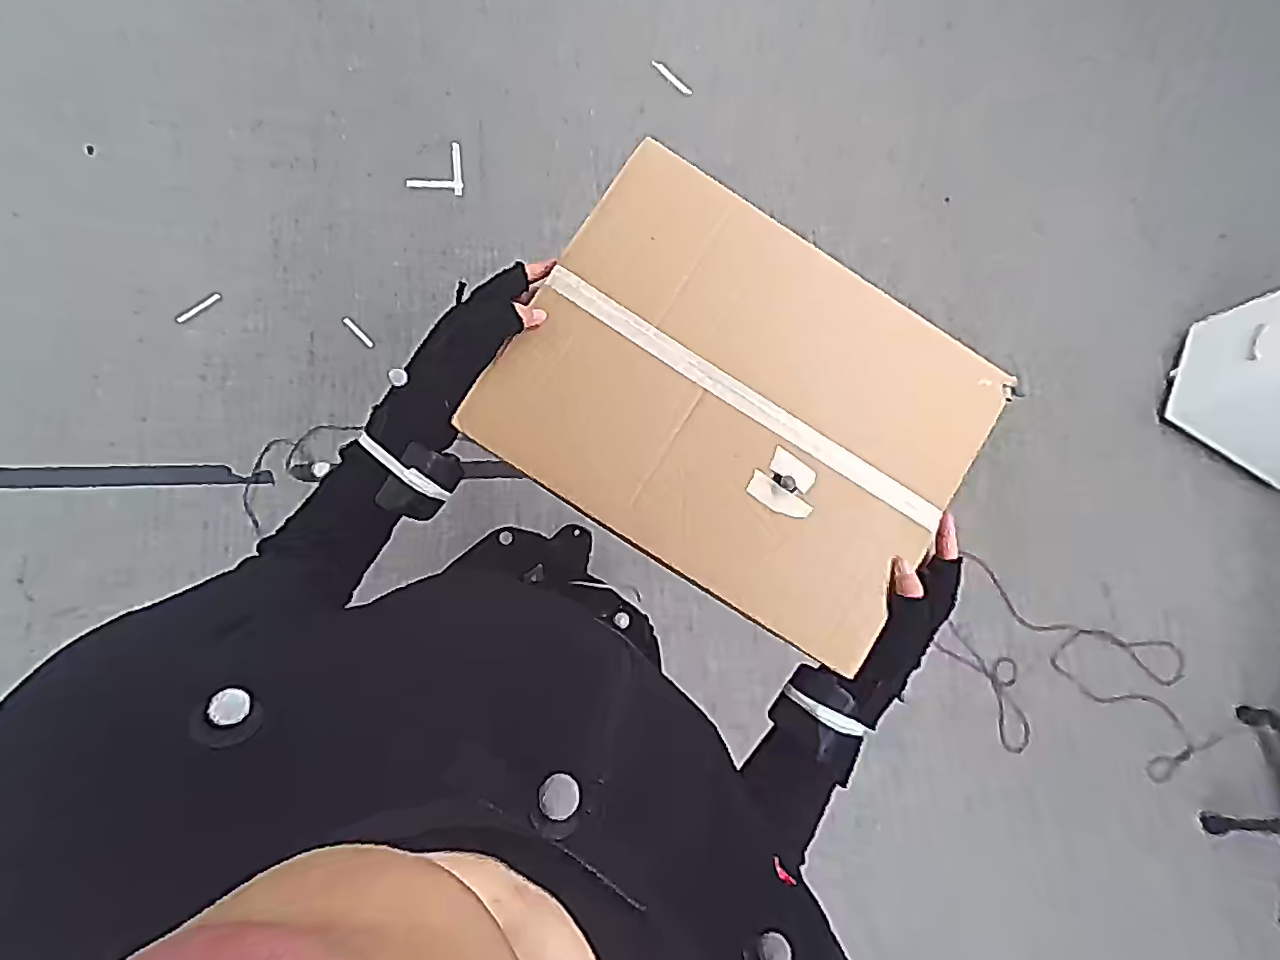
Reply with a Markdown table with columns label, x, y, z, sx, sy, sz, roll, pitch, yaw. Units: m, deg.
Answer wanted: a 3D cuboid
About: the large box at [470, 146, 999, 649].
| label | x | y | z | sx | sy | sz | roll | pitch | yaw |
| --- | --- | --- | --- | --- | --- | --- | --- | --- | --- |
| large box | 0.081 | -0.069 | 0.636 | 0.408 | 0.320 | 0.320 | 33 | 85 | -2 |
